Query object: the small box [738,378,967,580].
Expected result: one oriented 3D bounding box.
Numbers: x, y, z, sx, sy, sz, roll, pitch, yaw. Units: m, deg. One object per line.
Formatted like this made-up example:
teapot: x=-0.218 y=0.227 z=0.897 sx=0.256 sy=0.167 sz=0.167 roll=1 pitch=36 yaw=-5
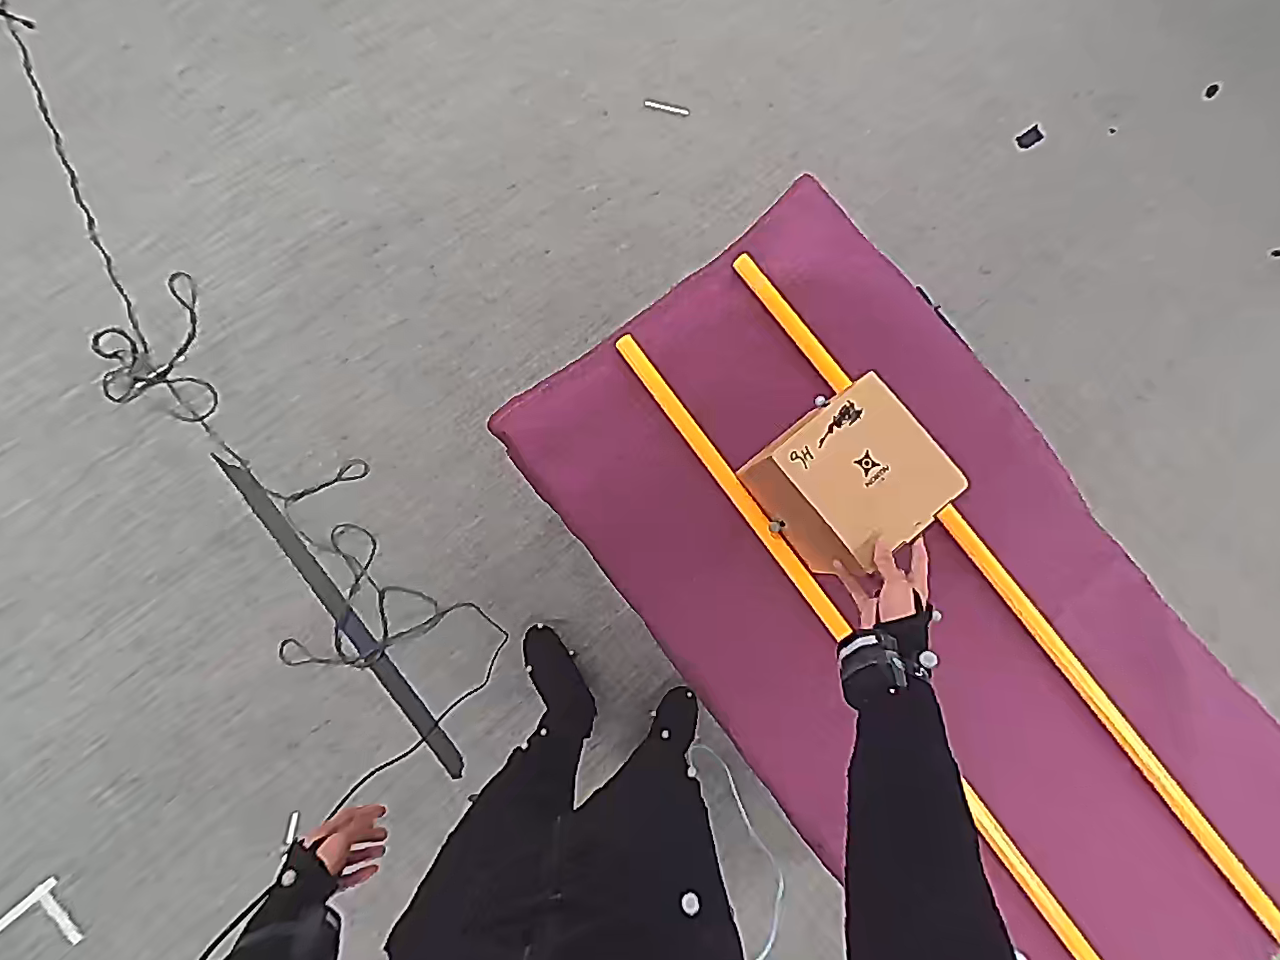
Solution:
small box: x=0.254 y=0.005 z=0.687 sx=0.168 sy=0.176 sz=0.179 roll=-37 pitch=87 yaw=-9
